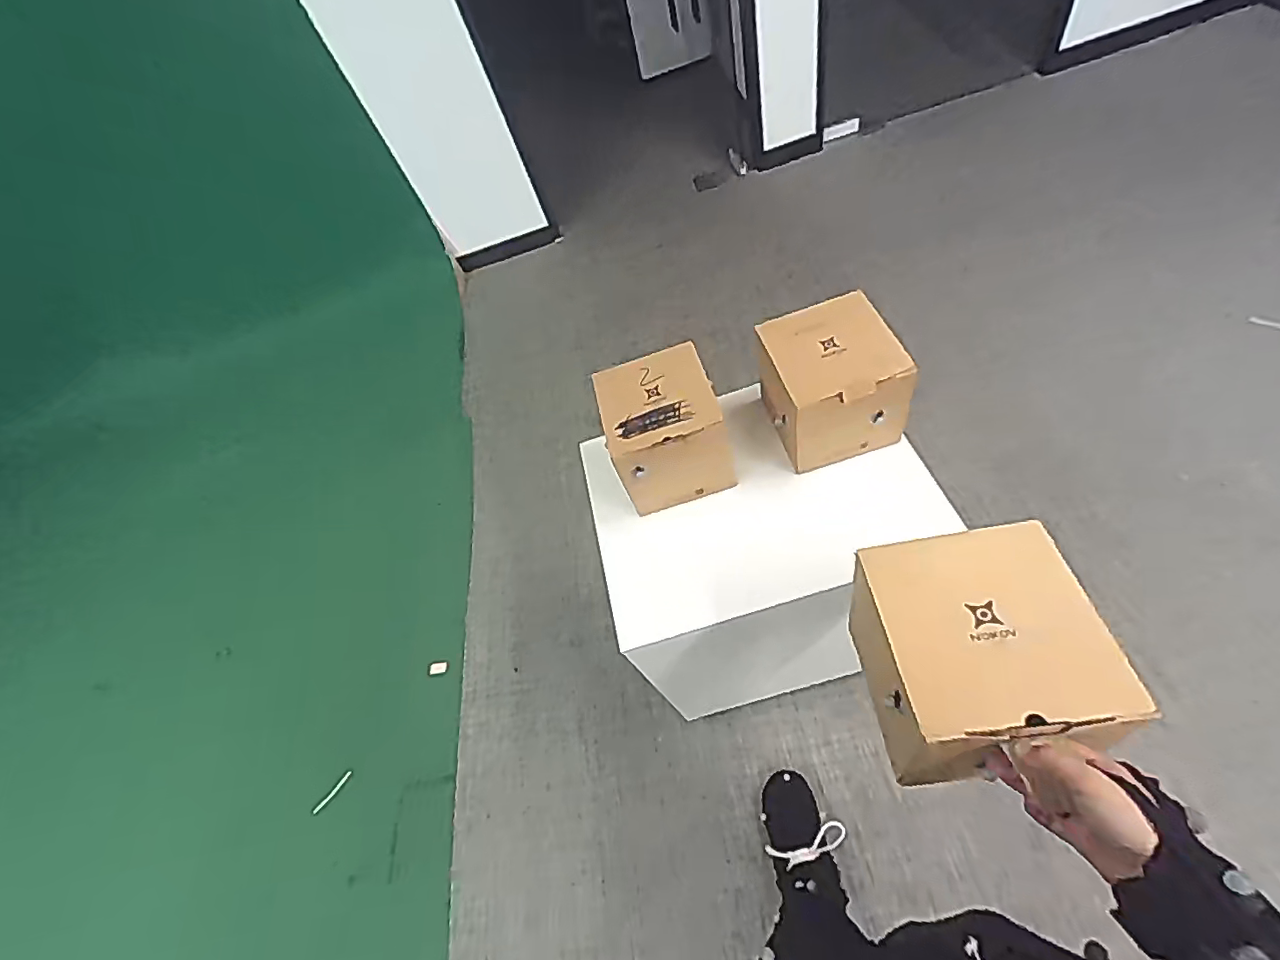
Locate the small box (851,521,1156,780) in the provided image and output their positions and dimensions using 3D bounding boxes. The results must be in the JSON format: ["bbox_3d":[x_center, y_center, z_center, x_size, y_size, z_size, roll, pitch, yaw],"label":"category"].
[{"bbox_3d":[0.311,0.166,0.517,0.168,0.176,0.179,-11,49,9],"label":"small box"}]

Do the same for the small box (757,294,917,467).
[{"bbox_3d":[0.287,-0.140,0.818,0.168,0.176,0.179,-17,54,4],"label":"small box"}]
